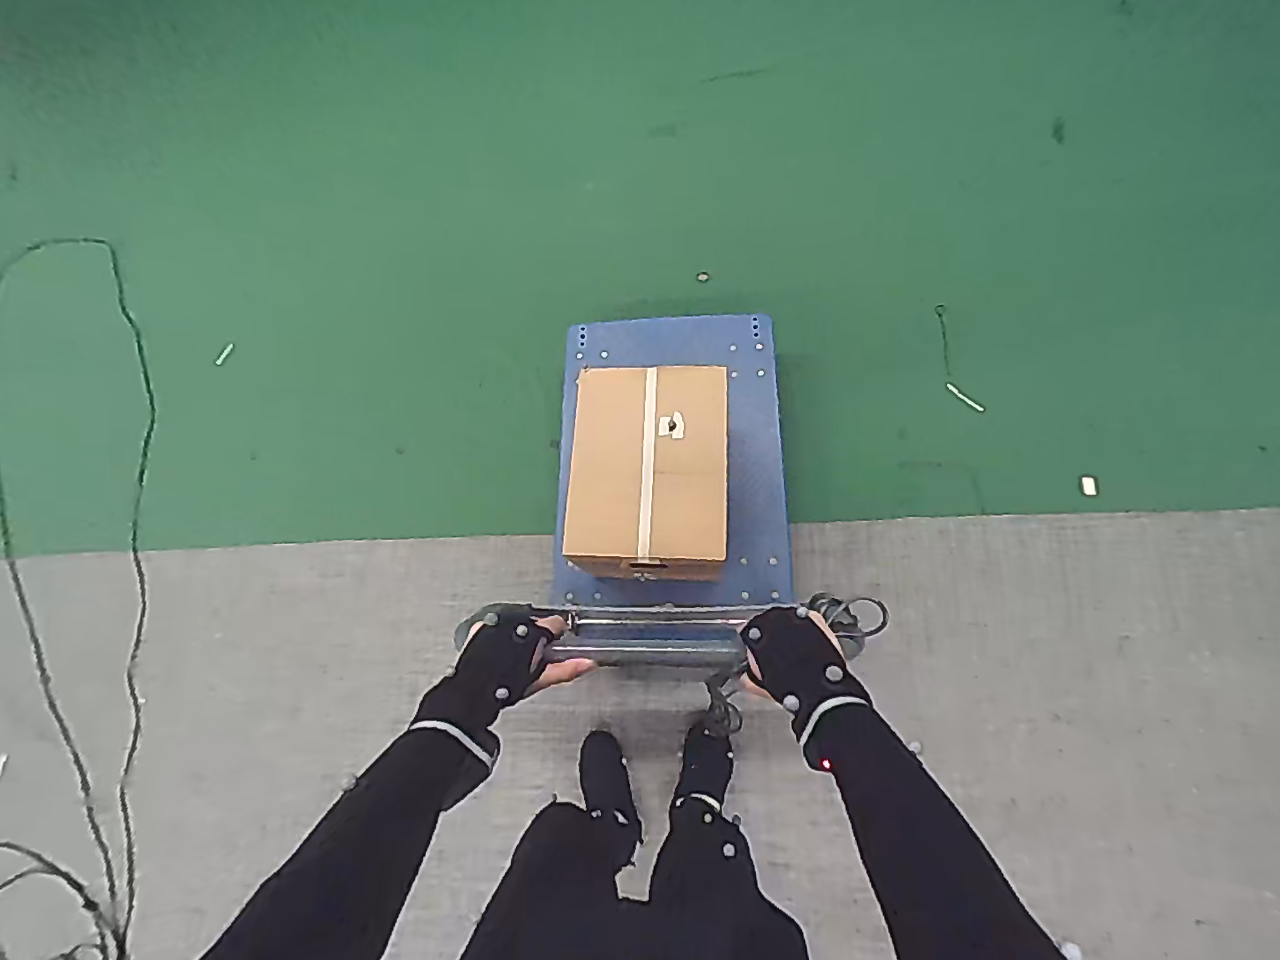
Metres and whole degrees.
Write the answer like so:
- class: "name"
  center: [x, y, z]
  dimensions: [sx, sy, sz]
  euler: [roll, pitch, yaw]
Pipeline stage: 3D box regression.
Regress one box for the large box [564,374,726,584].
- class: "large box"
  center: [0.030, 0.015, 1.219]
  dimensions: [0.320, 0.320, 0.408]
  euler: [1, 72, 6]
